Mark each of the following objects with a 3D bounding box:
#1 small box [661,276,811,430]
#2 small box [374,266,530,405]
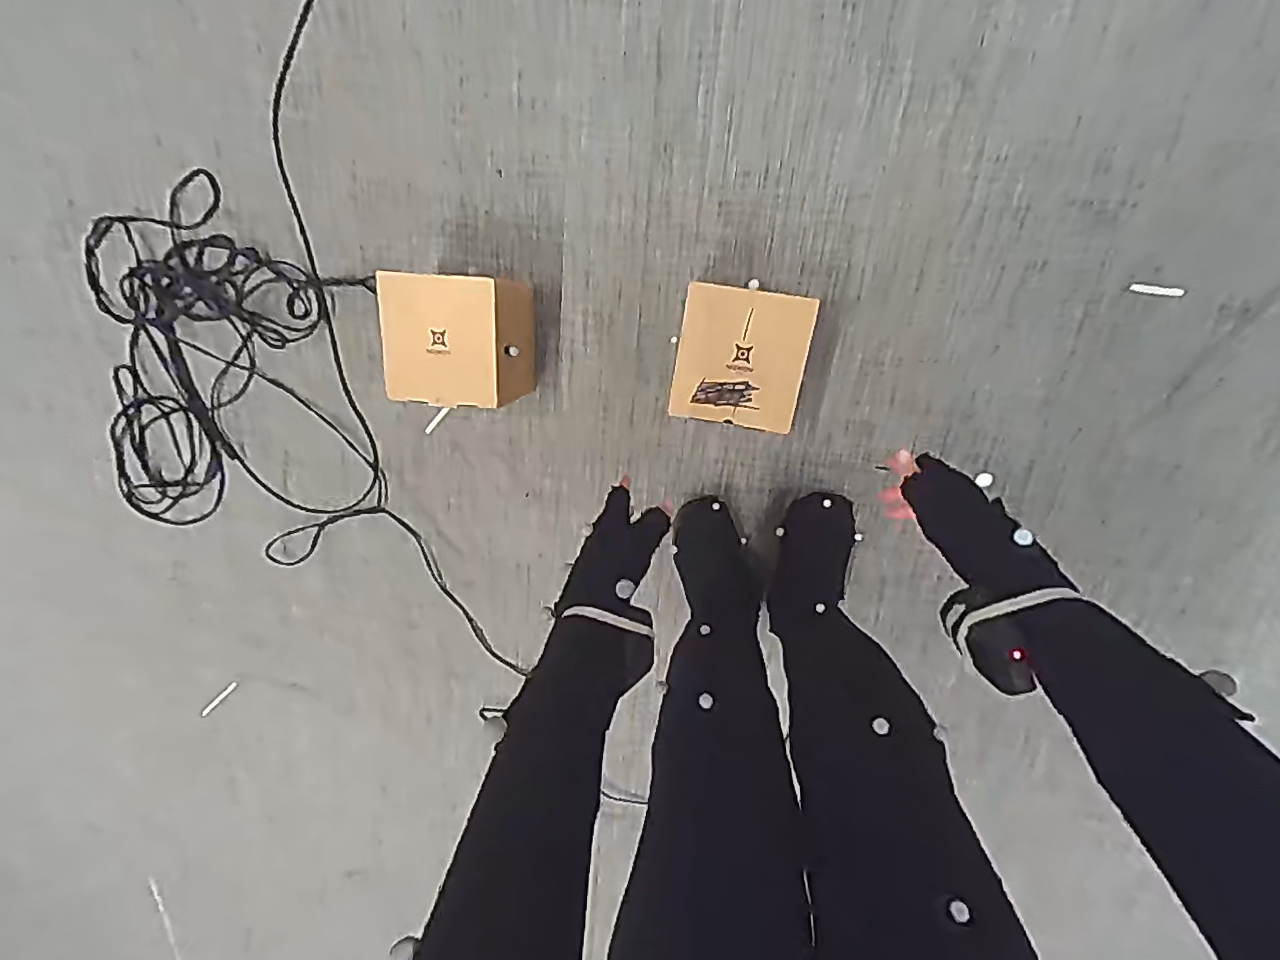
[{"bbox_3d":[0.131,-0.186,0.773,0.168,0.176,0.179,10,110,4],"label":"small box"},{"bbox_3d":[-0.269,-0.220,0.811,0.168,0.176,0.179,5,110,6],"label":"small box"}]
